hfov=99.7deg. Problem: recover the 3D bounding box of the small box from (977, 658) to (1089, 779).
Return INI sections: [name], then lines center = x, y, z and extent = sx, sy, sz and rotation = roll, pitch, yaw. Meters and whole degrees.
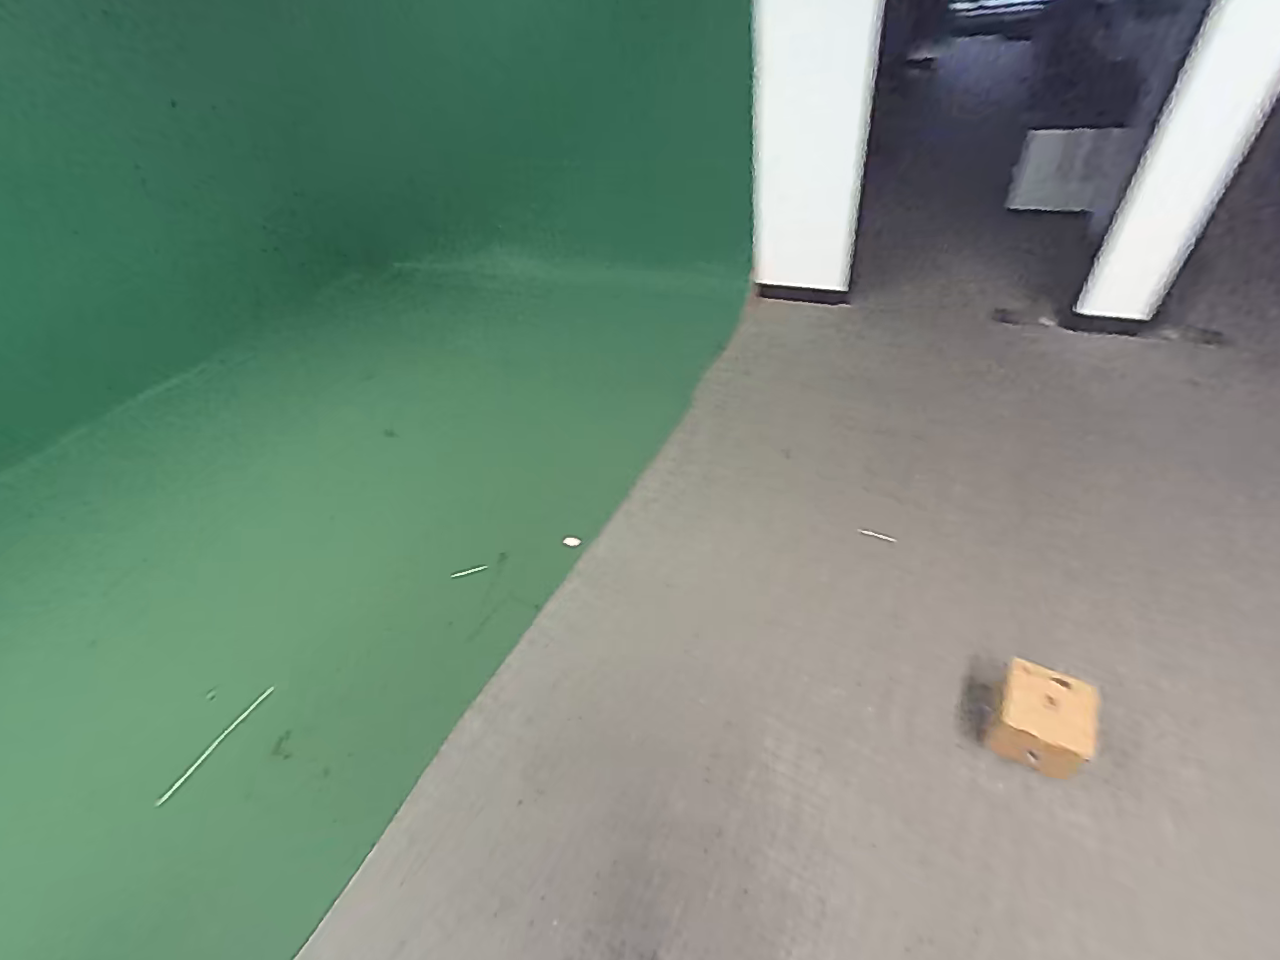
[small box]
center = 0.910, 0.560, 1.264
extent = 0.168, 0.176, 0.179
rotation = 18, 52, 27
